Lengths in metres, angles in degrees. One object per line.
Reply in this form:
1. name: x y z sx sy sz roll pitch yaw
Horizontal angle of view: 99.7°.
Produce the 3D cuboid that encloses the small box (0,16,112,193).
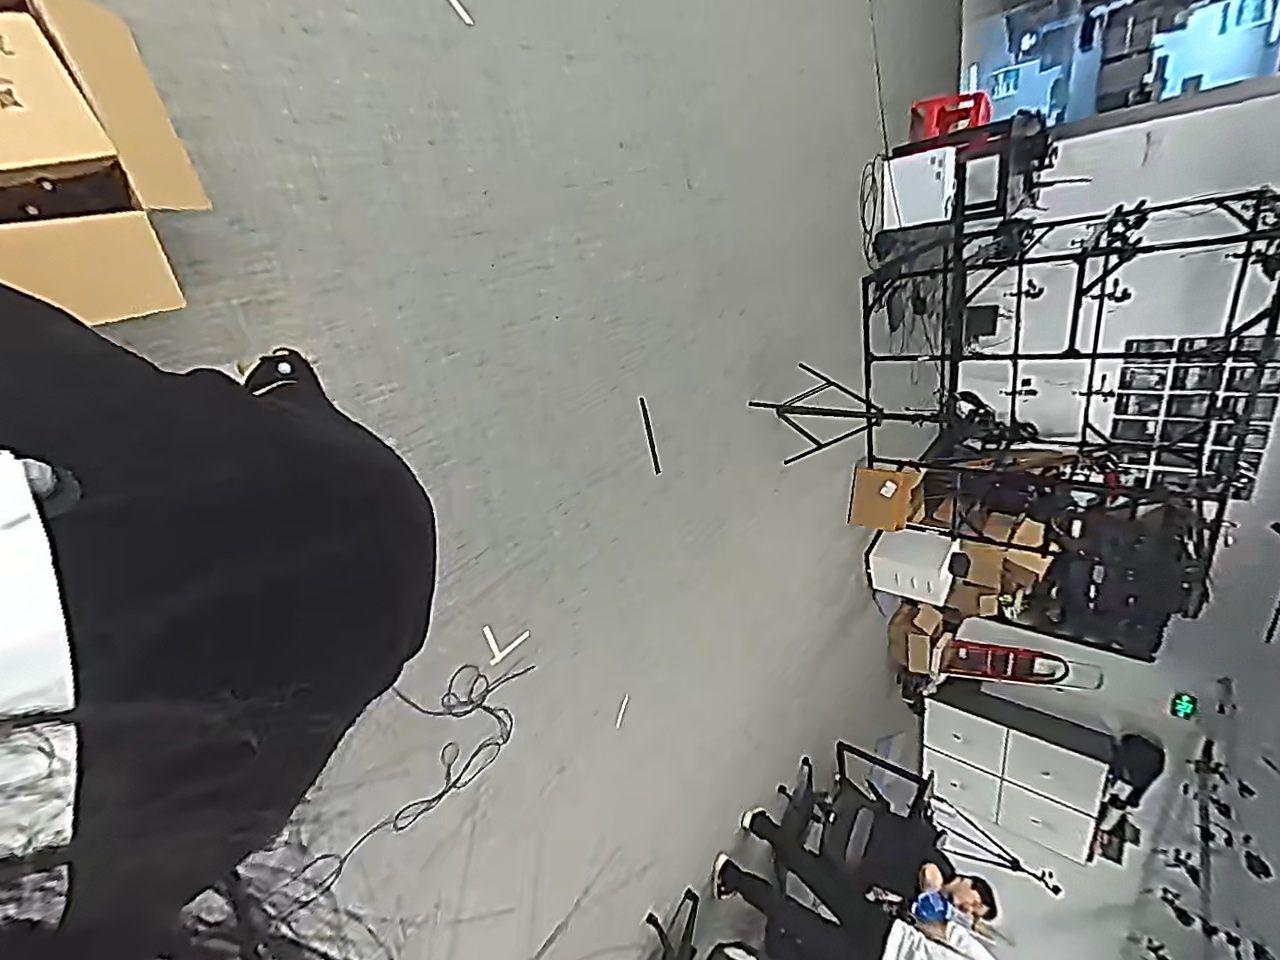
1. small box: -0.927 -0.527 0.776 0.168 0.176 0.179 -44 128 -39
